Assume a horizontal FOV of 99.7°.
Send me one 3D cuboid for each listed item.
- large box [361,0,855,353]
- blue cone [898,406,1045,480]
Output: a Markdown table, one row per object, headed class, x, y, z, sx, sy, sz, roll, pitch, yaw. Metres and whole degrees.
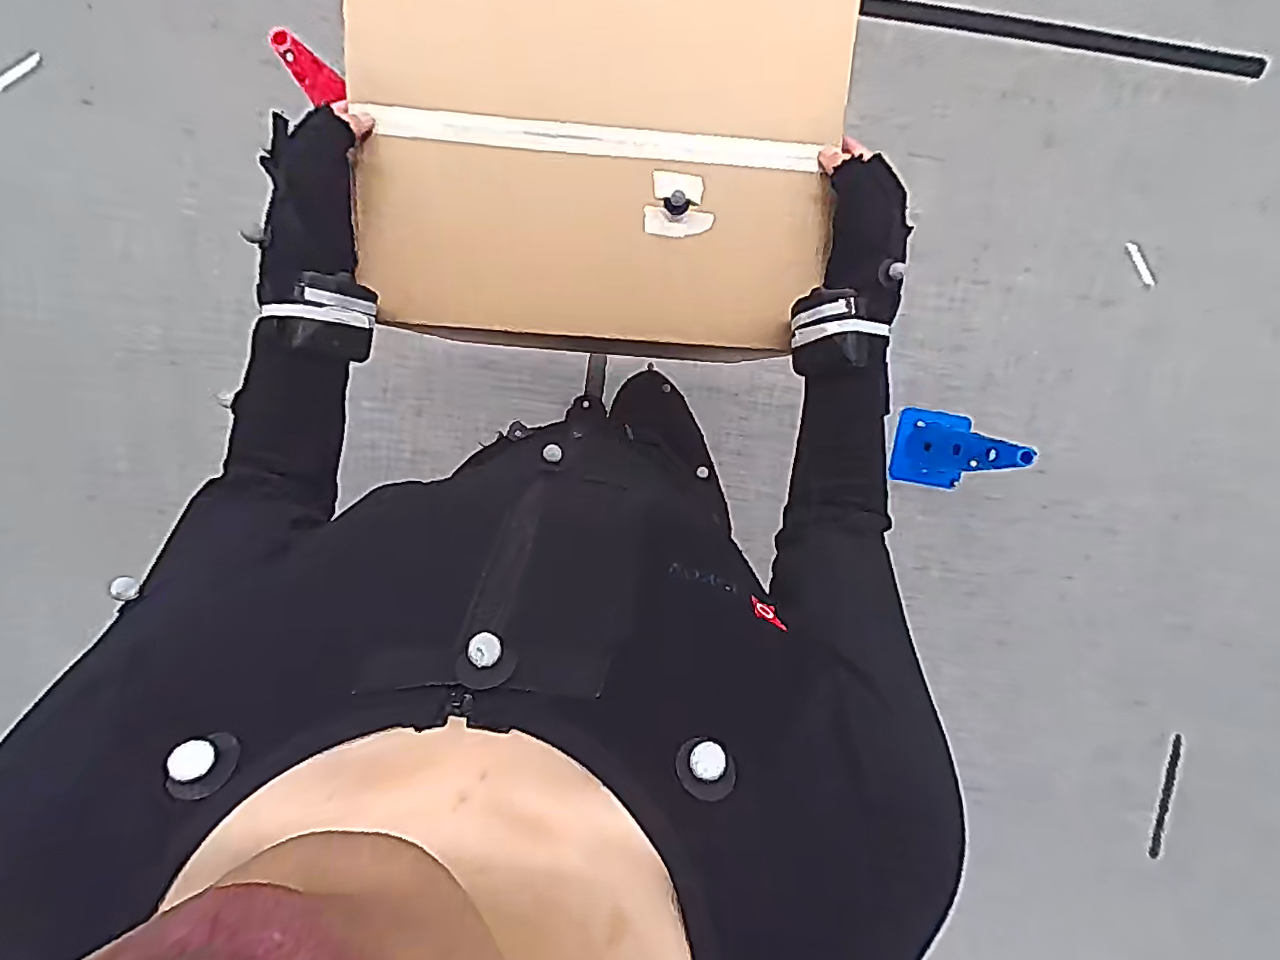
| class | x | y | z | sx | sy | sz | roll | pitch | yaw |
| --- | --- | --- | --- | --- | --- | --- | --- | --- | --- |
| large box | -0.037 | -0.316 | 0.598 | 0.408 | 0.320 | 0.320 | 3 | 101 | -4 |
| blue cone | 0.813 | -0.081 | 1.313 | 0.192 | 0.380 | 0.193 | 10 | 96 | -3 |
